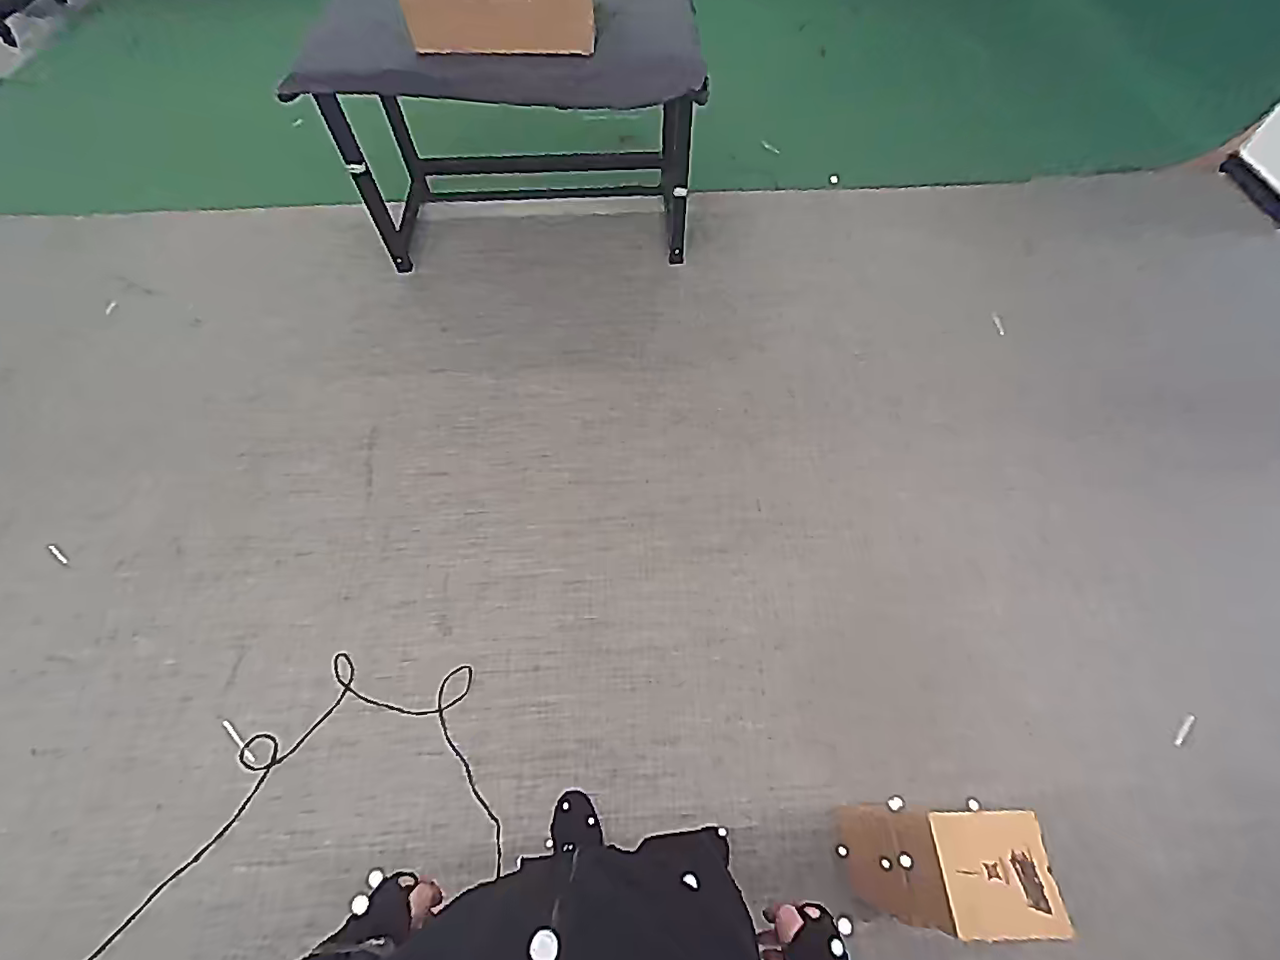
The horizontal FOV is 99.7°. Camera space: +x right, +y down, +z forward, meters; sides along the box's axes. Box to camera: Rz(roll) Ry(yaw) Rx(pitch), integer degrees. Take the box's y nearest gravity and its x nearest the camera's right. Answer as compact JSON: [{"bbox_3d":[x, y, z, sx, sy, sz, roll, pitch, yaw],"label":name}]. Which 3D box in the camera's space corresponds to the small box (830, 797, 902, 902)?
[{"bbox_3d":[0.542,0.815,1.206,0.168,0.176,0.179,-1,62,-2],"label":"small box"}]

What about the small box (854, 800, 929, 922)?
[{"bbox_3d":[0.543,0.737,1.065,0.168,0.176,0.179,-2,64,-1],"label":"small box"}]

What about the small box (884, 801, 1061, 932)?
[{"bbox_3d":[0.551,0.648,0.924,0.179,0.176,0.168,-1,60,0],"label":"small box"}]
